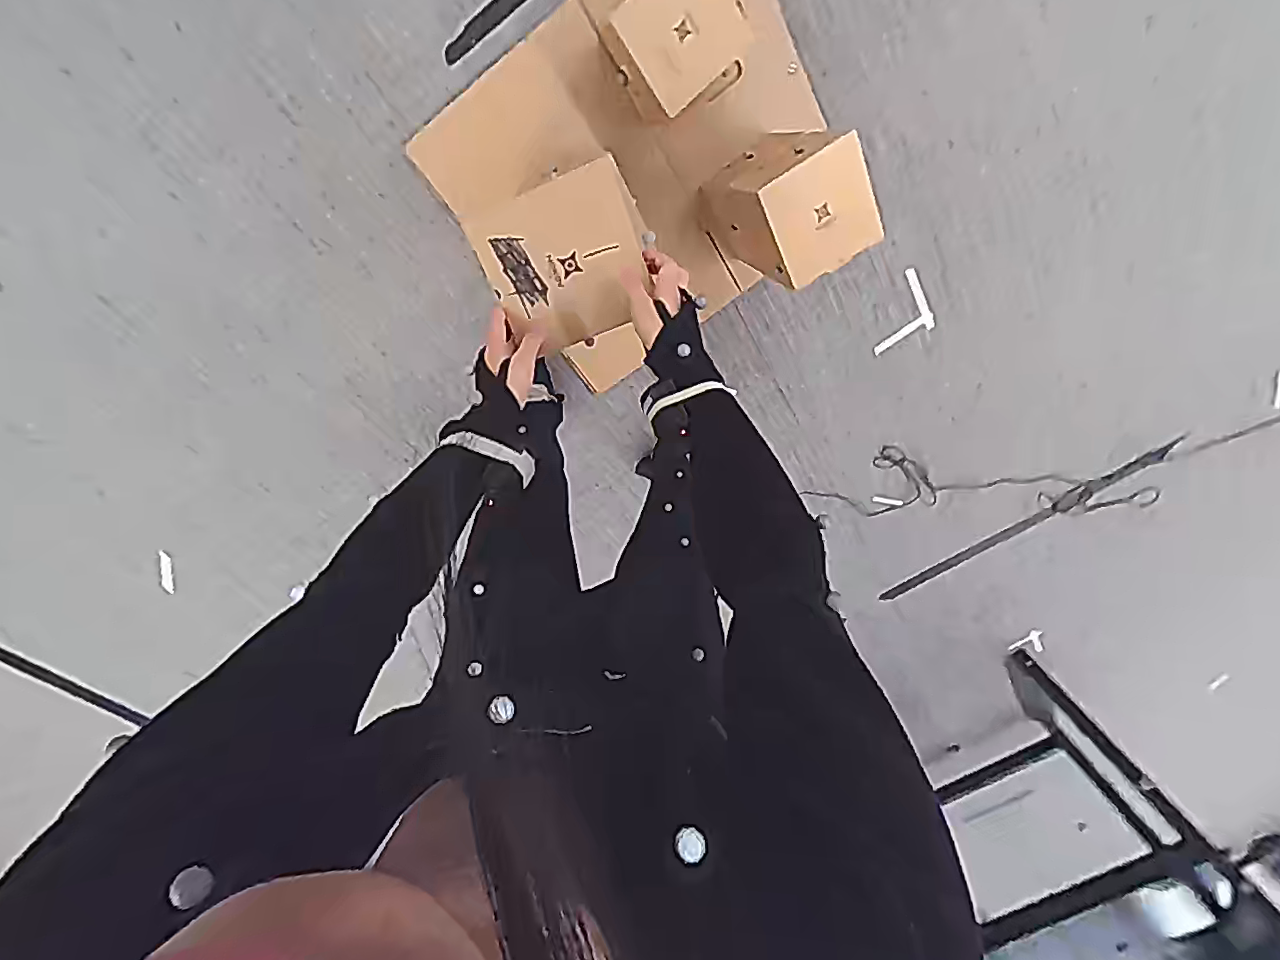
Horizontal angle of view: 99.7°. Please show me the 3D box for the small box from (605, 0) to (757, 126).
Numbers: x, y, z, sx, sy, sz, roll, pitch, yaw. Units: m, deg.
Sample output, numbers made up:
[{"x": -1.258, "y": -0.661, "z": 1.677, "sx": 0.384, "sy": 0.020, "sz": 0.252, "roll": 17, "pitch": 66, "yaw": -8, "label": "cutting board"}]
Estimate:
[{"x": 0.058, "y": -0.731, "z": 0.902, "sx": 0.179, "sy": 0.176, "sz": 0.168, "roll": -38, "pitch": 118, "yaw": 12, "label": "small box"}]

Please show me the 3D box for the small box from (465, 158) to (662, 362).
[{"x": -0.078, "y": -0.263, "z": 0.664, "sx": 0.179, "sy": 0.176, "sz": 0.168, "roll": -19, "pitch": 112, "yaw": 10, "label": "small box"}]

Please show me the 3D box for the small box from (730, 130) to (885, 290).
[{"x": 0.274, "y": -0.454, "z": 0.912, "sx": 0.168, "sy": 0.176, "sz": 0.179, "roll": -30, "pitch": 122, "yaw": 8, "label": "small box"}]

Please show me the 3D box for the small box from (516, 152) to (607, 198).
[{"x": -0.113, "y": -0.489, "z": 1.012, "sx": 0.179, "sy": 0.176, "sz": 0.168, "roll": -25, "pitch": 122, "yaw": 7, "label": "small box"}]
